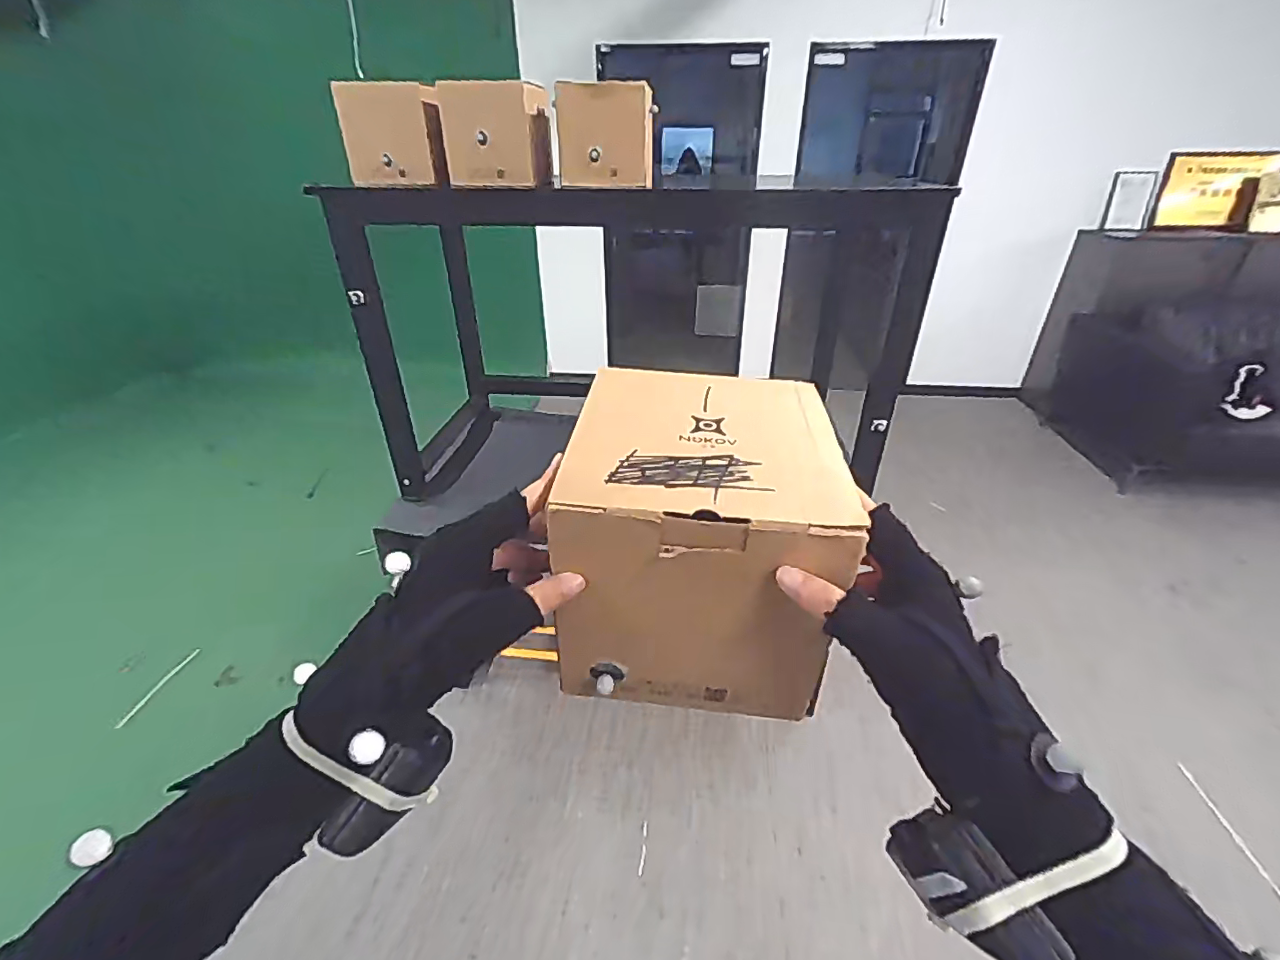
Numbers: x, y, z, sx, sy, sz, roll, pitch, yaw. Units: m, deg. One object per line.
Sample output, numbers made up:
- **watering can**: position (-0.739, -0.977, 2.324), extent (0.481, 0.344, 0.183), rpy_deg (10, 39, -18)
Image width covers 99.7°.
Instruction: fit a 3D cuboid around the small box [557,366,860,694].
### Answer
- **small box**: position (0.042, 0.031, 0.400), extent (0.168, 0.176, 0.179), rpy_deg (5, 34, 3)
